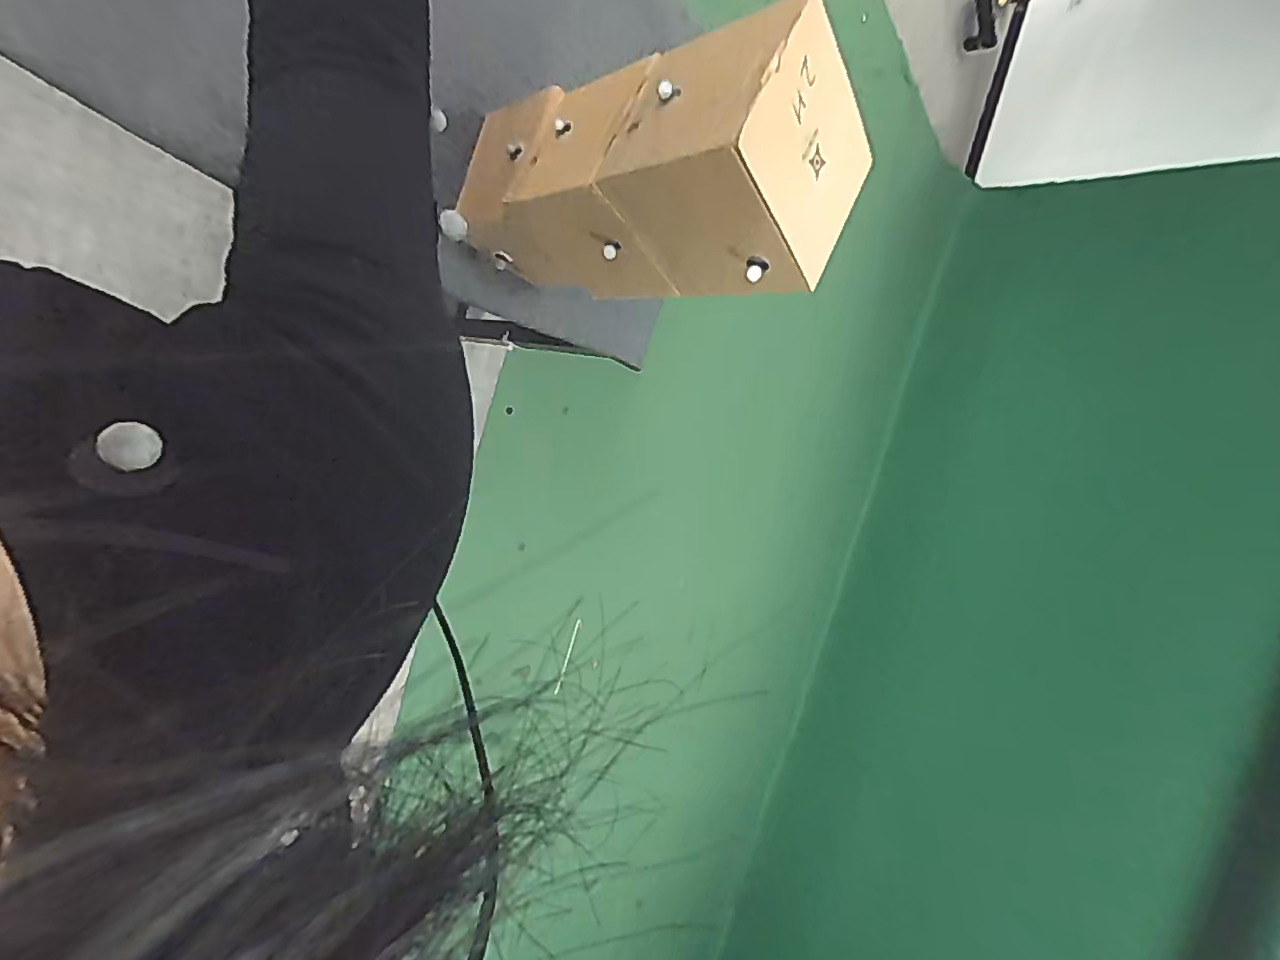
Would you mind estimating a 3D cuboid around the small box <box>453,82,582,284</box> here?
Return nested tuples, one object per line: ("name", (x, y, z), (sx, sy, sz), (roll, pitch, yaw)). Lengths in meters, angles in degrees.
("small box", (-0.133, -0.392, 0.751), (0.168, 0.176, 0.179), (19, 90, -46))

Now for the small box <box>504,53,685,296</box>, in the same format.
("small box", (-0.024, -0.341, 0.641), (0.179, 0.176, 0.168), (34, 78, -45))

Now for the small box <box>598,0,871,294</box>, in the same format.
("small box", (0.094, -0.306, 0.531), (0.179, 0.176, 0.168), (36, 76, -45))
